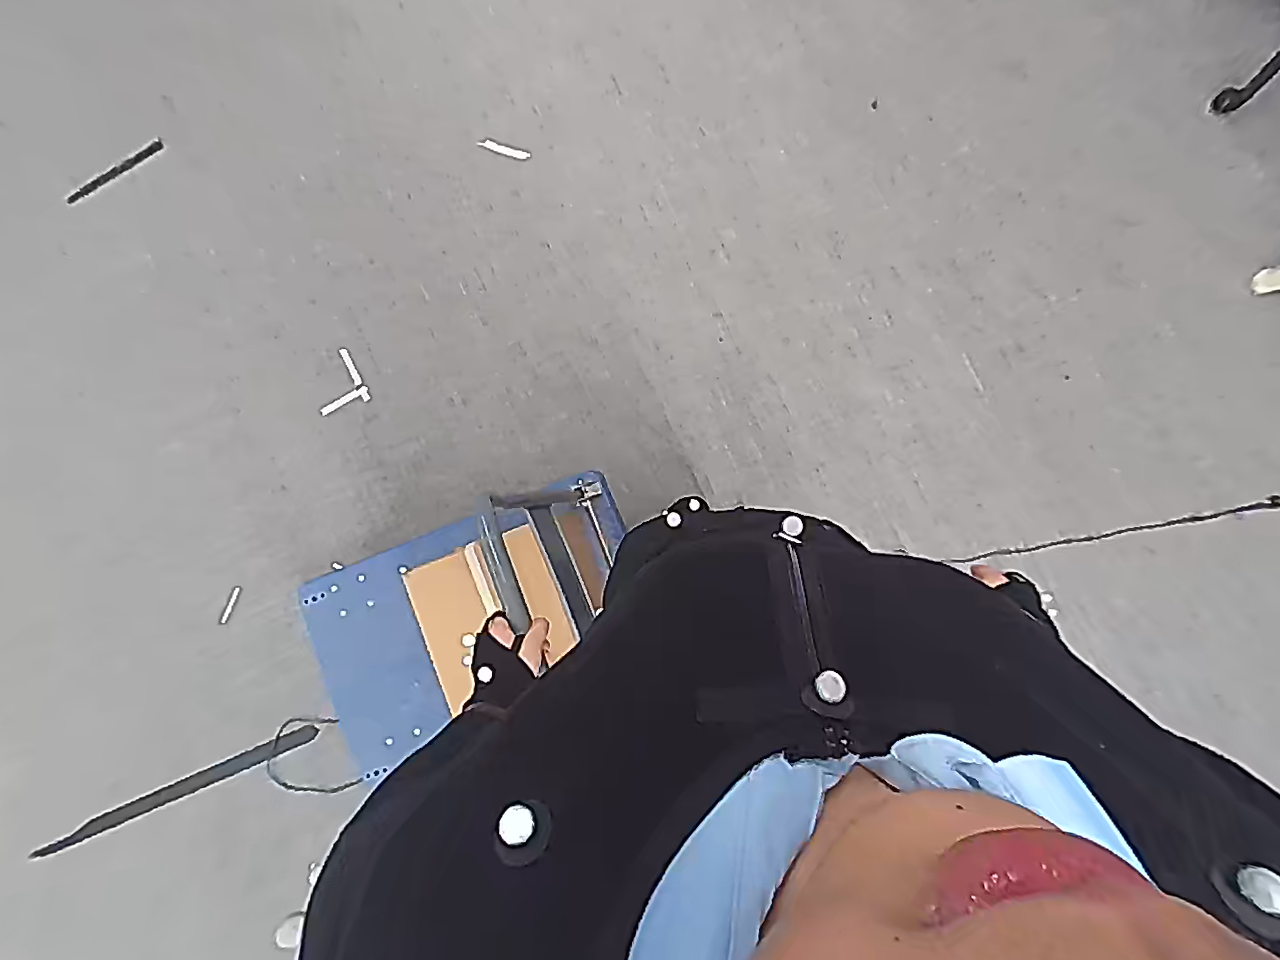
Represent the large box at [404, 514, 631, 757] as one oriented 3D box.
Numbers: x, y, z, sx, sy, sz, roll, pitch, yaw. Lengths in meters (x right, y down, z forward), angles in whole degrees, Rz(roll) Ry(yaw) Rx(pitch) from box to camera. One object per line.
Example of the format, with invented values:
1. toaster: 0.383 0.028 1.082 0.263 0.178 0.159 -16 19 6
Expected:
1. large box: -0.249 0.319 1.217 0.320 0.320 0.408 -21 86 5
